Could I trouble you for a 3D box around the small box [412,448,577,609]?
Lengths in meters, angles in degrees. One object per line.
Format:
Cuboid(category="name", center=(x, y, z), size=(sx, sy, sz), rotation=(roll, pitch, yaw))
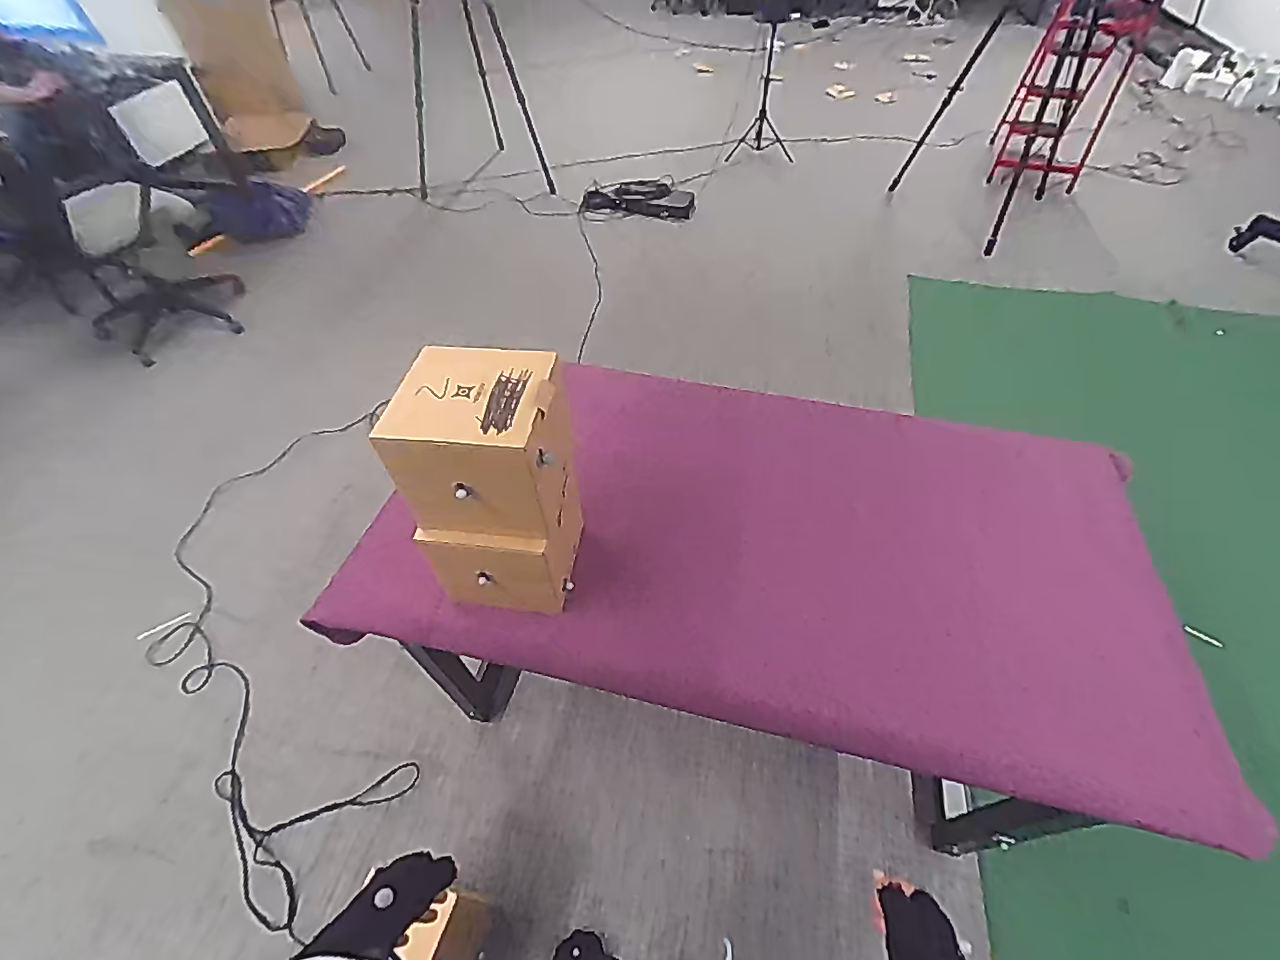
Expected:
Cuboid(category="small box", center=(-0.197, 0.075, 0.797), size=(0.179, 0.176, 0.168), rotation=(6, 50, 5))
